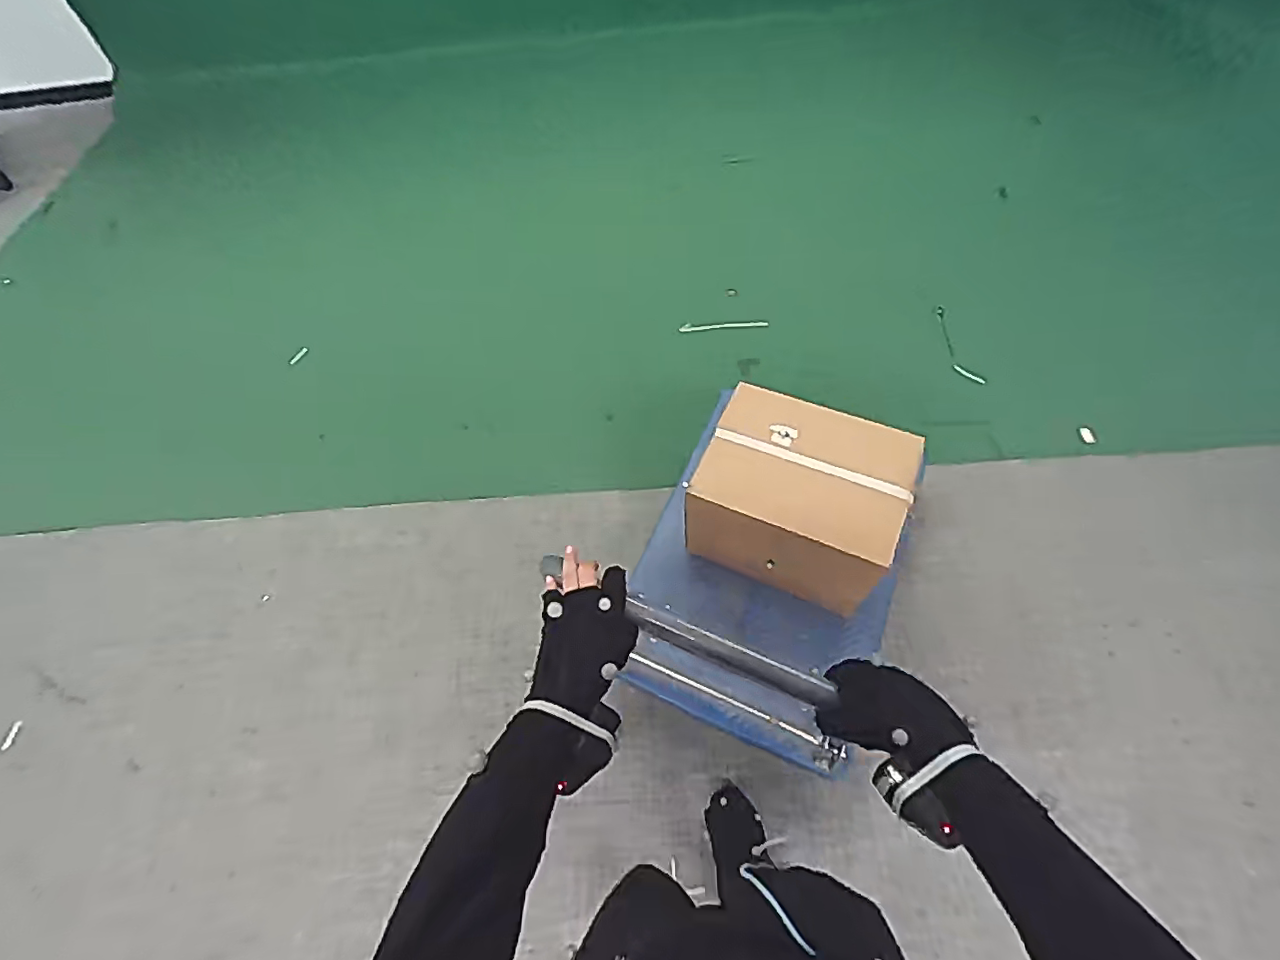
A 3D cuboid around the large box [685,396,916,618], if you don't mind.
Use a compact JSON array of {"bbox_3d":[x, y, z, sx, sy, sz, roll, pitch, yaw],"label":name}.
[{"bbox_3d":[0.349,0.065,1.236,0.408,0.320,0.320,20,62,18],"label":"large box"}]
